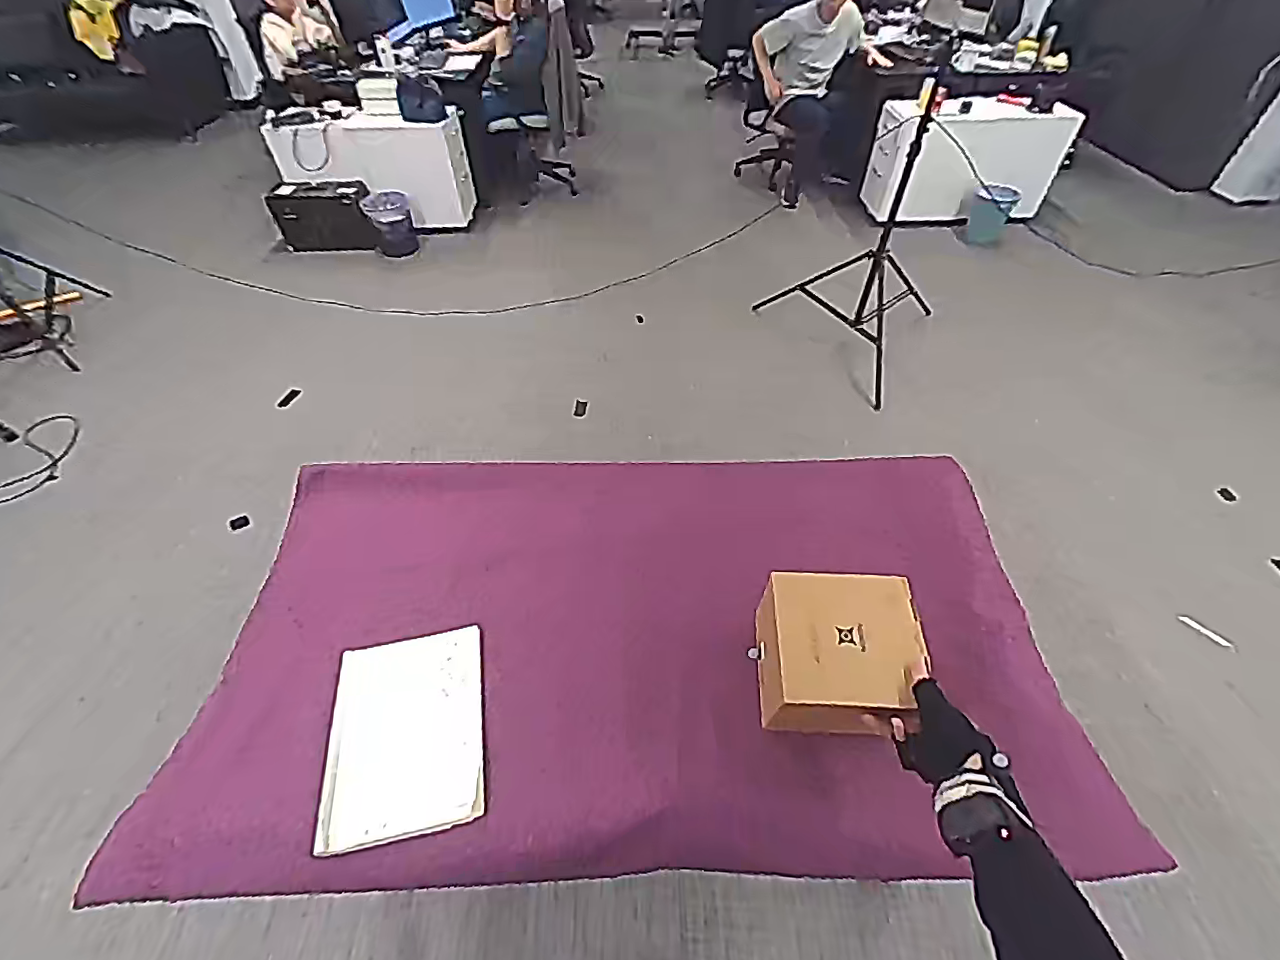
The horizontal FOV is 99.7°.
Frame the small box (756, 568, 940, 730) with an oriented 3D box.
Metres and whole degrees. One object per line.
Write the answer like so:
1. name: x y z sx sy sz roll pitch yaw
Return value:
1. small box: 0.258 0.228 0.719 0.179 0.176 0.168 0 55 4
